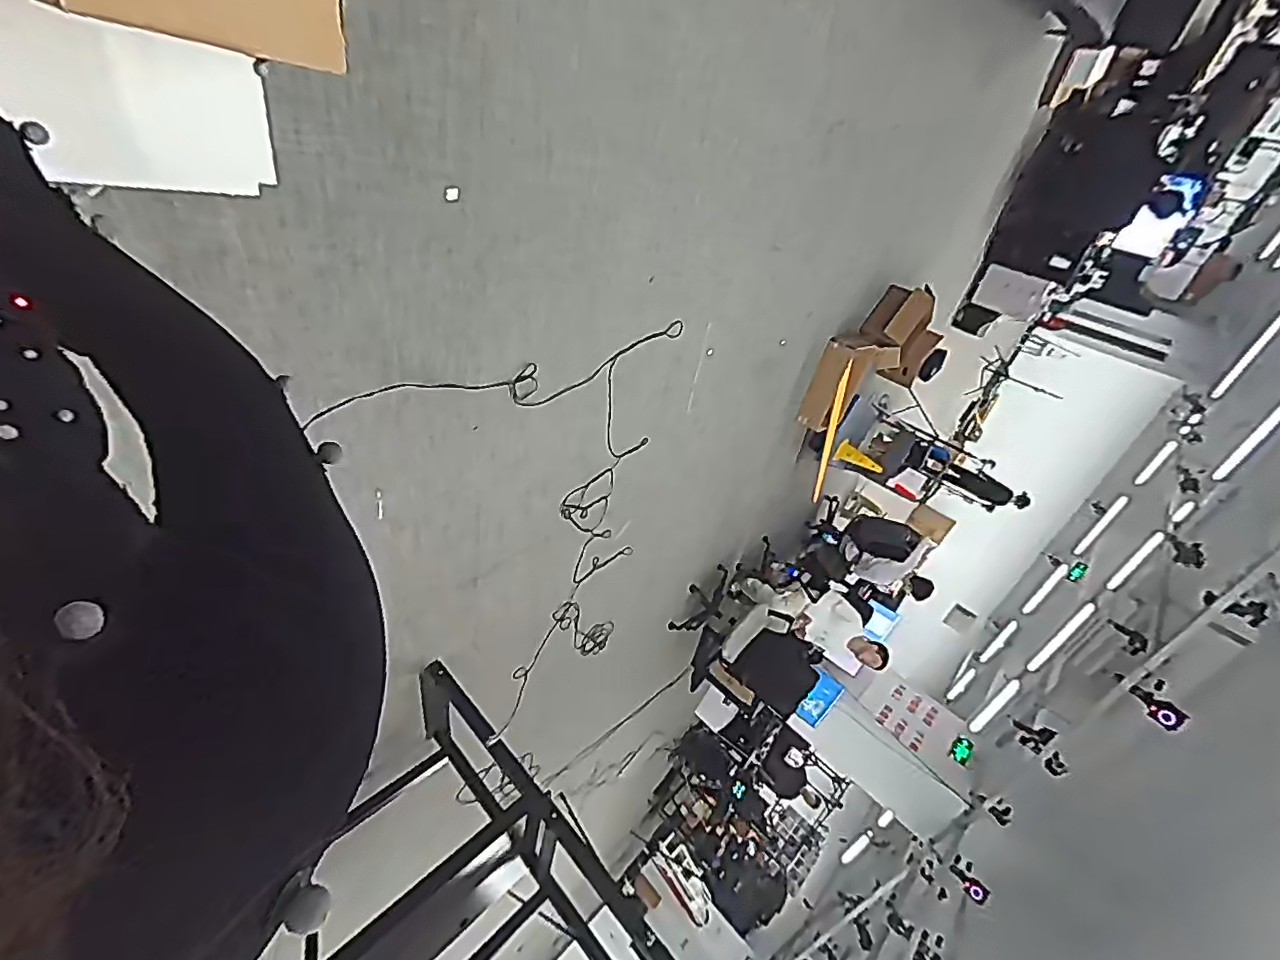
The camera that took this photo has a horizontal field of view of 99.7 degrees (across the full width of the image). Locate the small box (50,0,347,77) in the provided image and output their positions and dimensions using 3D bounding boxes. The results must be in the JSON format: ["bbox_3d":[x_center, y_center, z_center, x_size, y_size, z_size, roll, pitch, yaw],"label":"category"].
[{"bbox_3d":[-0.346,-0.429,0.400,0.179,0.176,0.168,-20,136,-43],"label":"small box"}]
